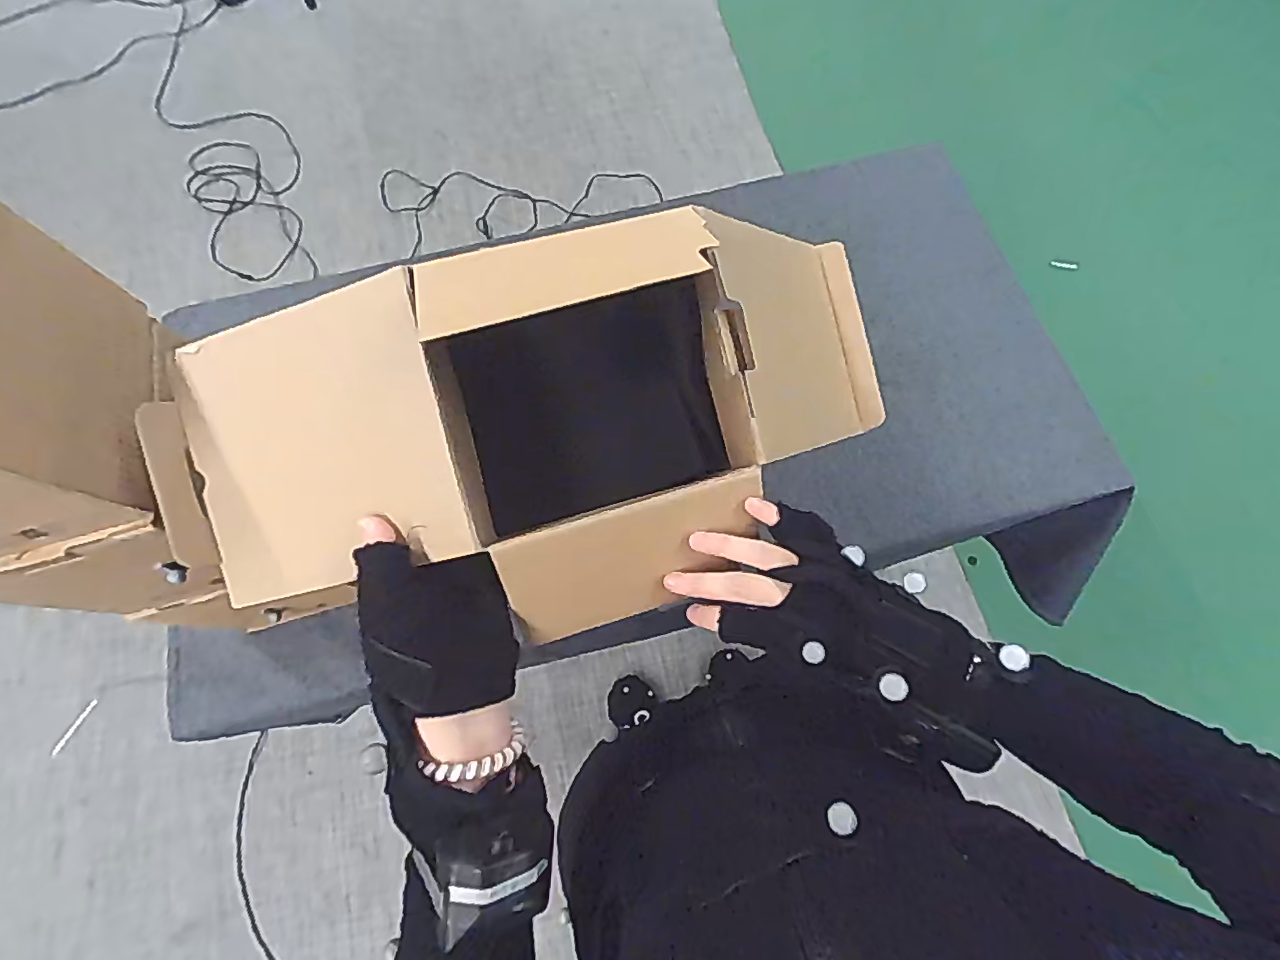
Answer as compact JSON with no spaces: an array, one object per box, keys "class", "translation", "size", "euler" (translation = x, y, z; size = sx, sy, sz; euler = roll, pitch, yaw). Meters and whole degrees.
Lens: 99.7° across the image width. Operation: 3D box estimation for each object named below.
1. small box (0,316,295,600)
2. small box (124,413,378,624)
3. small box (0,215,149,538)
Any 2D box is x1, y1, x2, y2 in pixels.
[{"class":"small box","translation":[-0.424,-0.003,0.459],"size":[0.168,0.176,0.179],"euler":[-15,72,-5]},{"class":"small box","translation":[-0.423,0.053,0.612],"size":[0.168,0.176,0.179],"euler":[-16,72,-4]},{"class":"small box","translation":[-0.428,-0.061,0.306],"size":[0.168,0.176,0.179],"euler":[-16,72,-6]}]
